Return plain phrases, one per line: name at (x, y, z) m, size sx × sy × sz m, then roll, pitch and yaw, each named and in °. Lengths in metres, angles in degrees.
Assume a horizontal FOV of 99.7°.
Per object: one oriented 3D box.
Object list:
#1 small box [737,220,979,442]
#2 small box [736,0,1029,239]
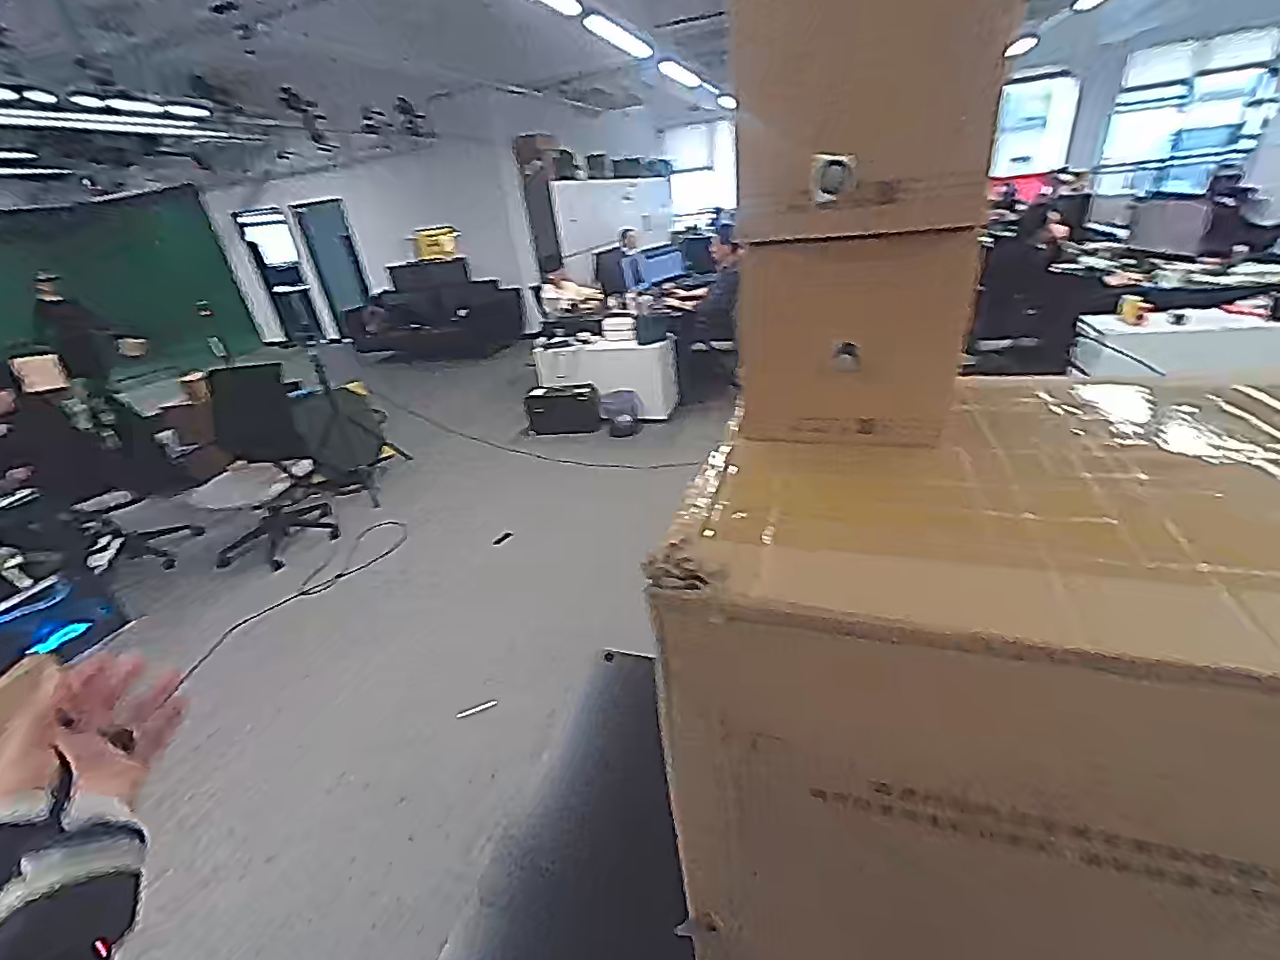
small box at (0.187, -0.143, 0.491) m, size 0.168 × 0.176 × 0.179 m, roll 4°, pitch 29°, yaw 19°
small box at (0.167, -0.280, 0.403) m, size 0.168 × 0.176 × 0.179 m, roll 3°, pitch 29°, yaw 21°
